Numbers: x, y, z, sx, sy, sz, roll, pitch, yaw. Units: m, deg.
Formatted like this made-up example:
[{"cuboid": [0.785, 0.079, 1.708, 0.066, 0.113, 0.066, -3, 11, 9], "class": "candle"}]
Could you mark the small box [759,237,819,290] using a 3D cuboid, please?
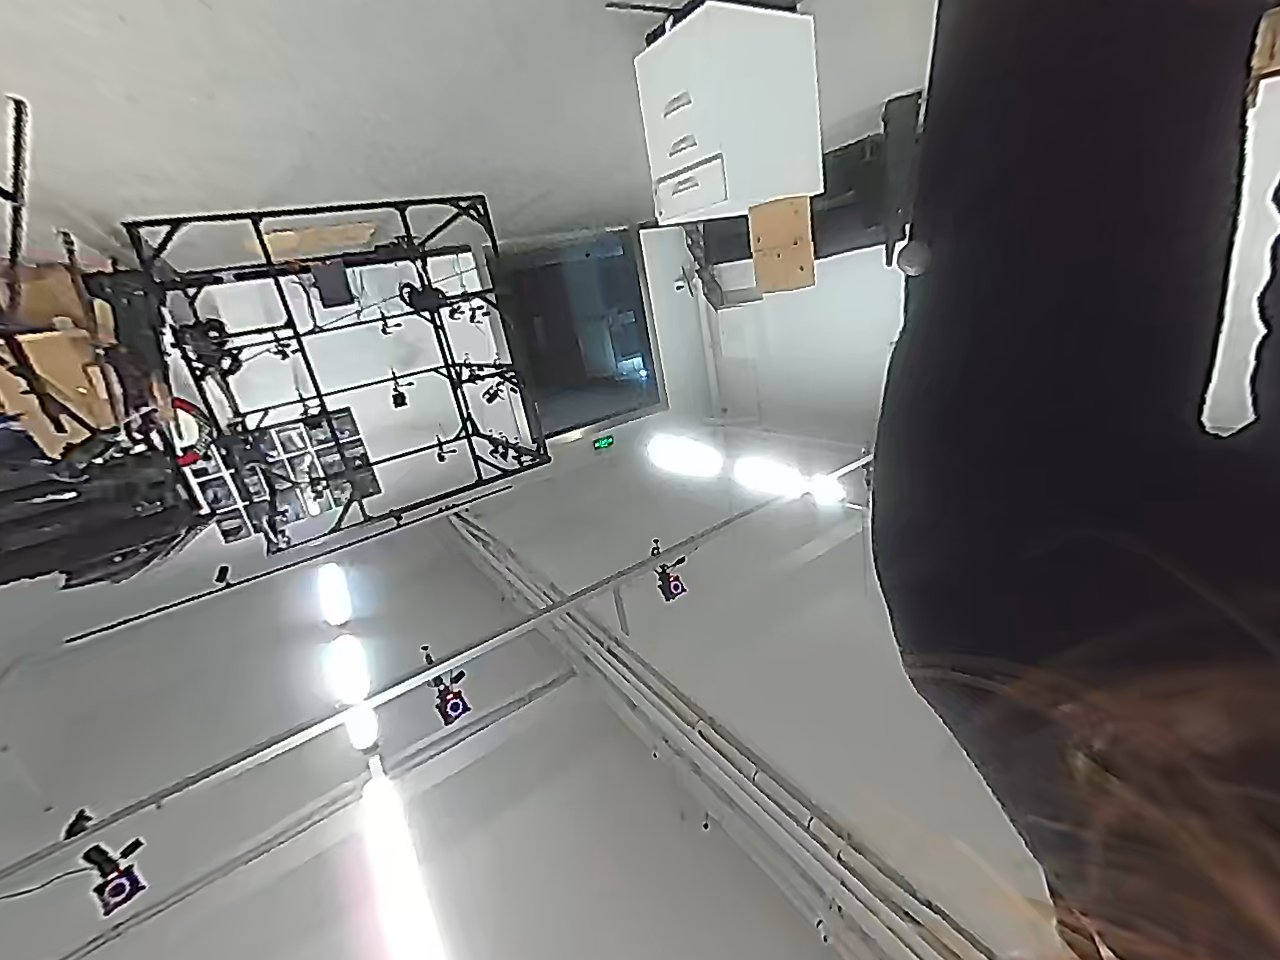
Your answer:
[{"cuboid": [0.599, -0.876, 2.184, 0.179, 0.176, 0.168, -23, -156, -29], "class": "small box"}]

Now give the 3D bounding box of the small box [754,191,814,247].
[{"cuboid": [0.565, -1.029, 2.130, 0.168, 0.176, 0.179, -22, -157, -28], "class": "small box"}]
